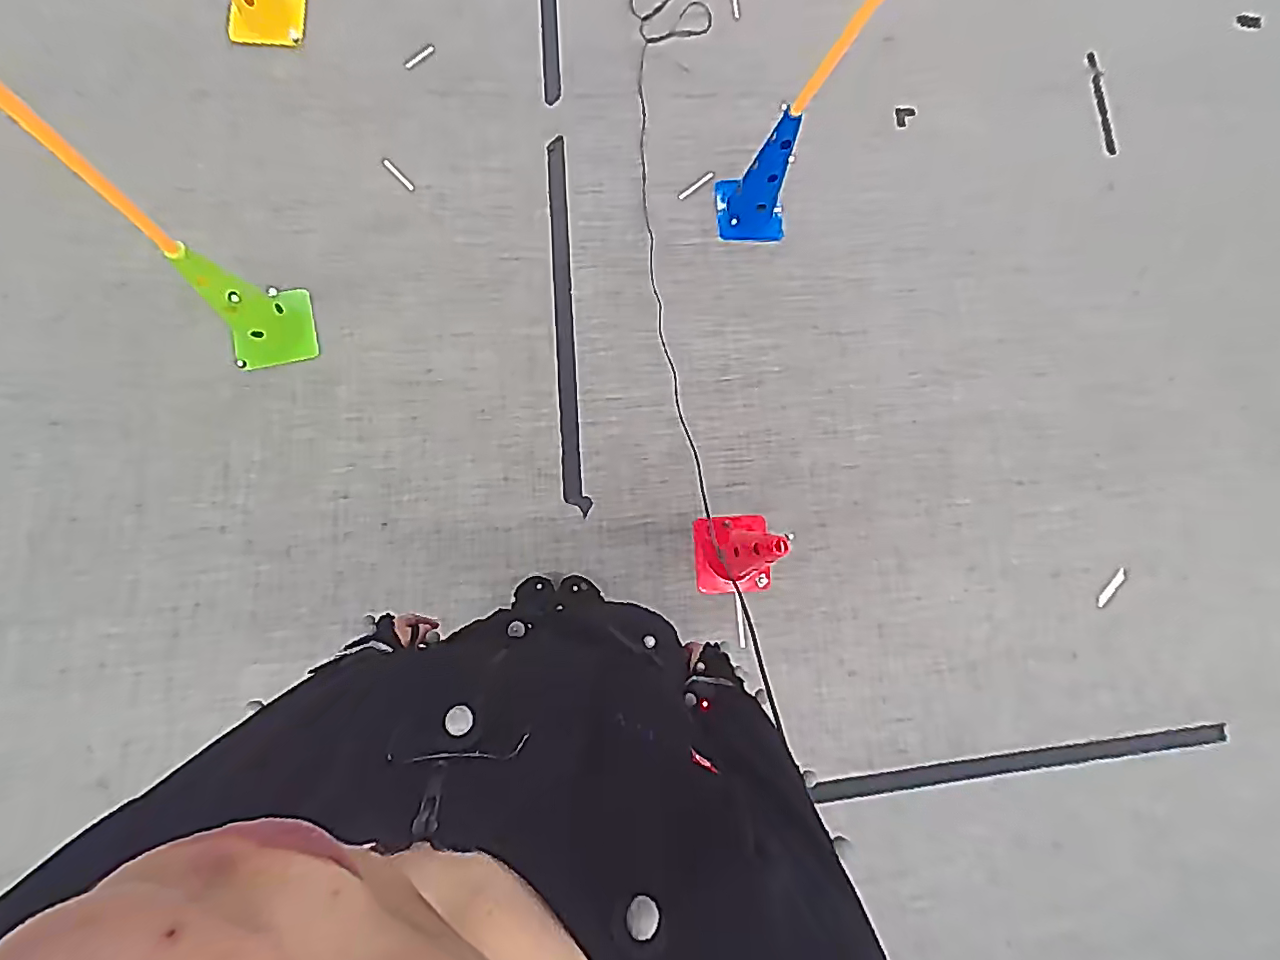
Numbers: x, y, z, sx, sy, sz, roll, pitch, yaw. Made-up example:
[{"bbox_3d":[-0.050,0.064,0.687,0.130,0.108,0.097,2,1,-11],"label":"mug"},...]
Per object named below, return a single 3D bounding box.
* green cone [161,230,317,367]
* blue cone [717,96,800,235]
[{"bbox_3d":[-0.937,-0.435,1.240,0.200,0.368,0.202,-14,80,-8],"label":"green cone"},{"bbox_3d":[0.345,-0.850,1.458,0.193,0.380,0.192,-1,79,-6],"label":"blue cone"}]
